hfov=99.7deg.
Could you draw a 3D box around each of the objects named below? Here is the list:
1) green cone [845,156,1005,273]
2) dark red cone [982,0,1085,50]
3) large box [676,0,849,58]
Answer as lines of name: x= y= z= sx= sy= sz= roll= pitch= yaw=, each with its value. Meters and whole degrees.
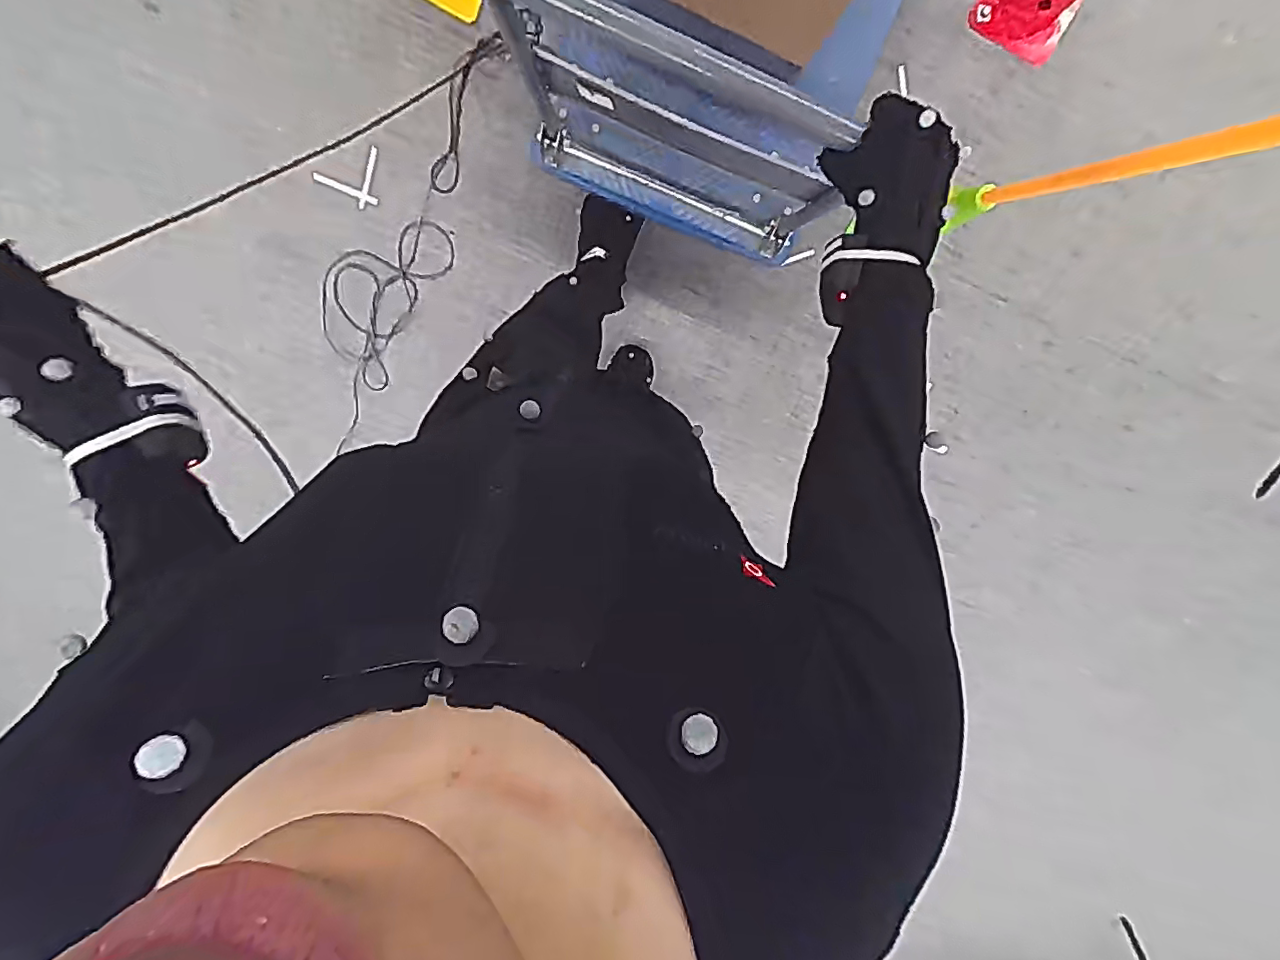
green cone: x=0.607 y=-0.557 z=1.105 sx=0.202 sy=0.368 sz=0.200 roll=26 pitch=108 yaw=-9
dark red cone: x=0.821 y=-0.961 z=0.939 sx=0.201 sy=0.394 sz=0.202 roll=22 pitch=109 yaw=-9
large box: x=0.183 y=-0.945 z=0.824 sx=0.408 sy=0.320 sz=0.320 roll=21 pitch=109 yaw=-6
